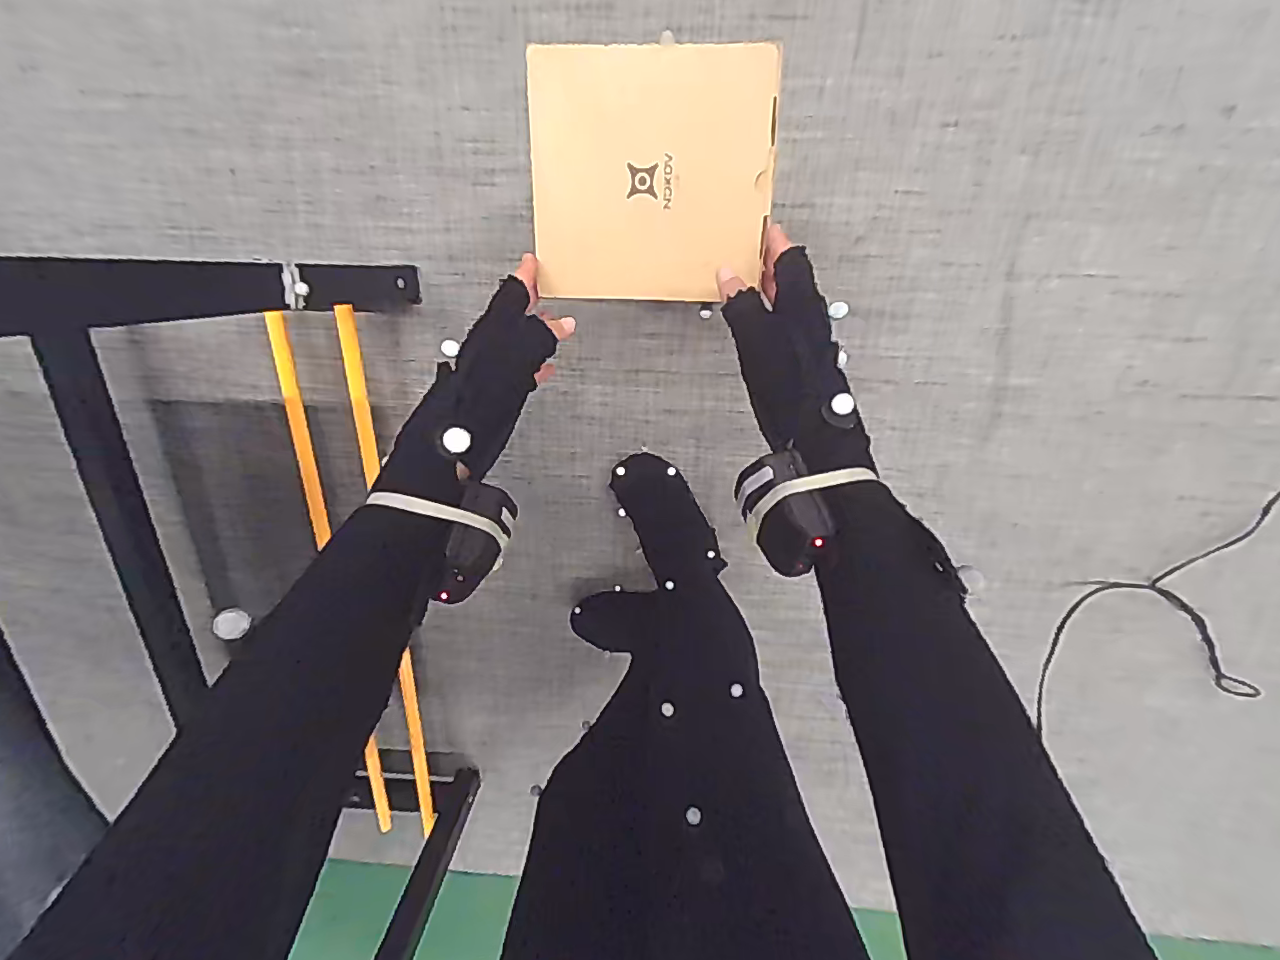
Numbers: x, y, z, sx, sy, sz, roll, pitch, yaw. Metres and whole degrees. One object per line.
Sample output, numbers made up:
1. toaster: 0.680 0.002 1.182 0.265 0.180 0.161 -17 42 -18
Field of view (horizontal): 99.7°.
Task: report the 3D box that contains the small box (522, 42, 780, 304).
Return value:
1. small box: 0.011 -0.243 0.462 0.179 0.176 0.168 3 112 4
